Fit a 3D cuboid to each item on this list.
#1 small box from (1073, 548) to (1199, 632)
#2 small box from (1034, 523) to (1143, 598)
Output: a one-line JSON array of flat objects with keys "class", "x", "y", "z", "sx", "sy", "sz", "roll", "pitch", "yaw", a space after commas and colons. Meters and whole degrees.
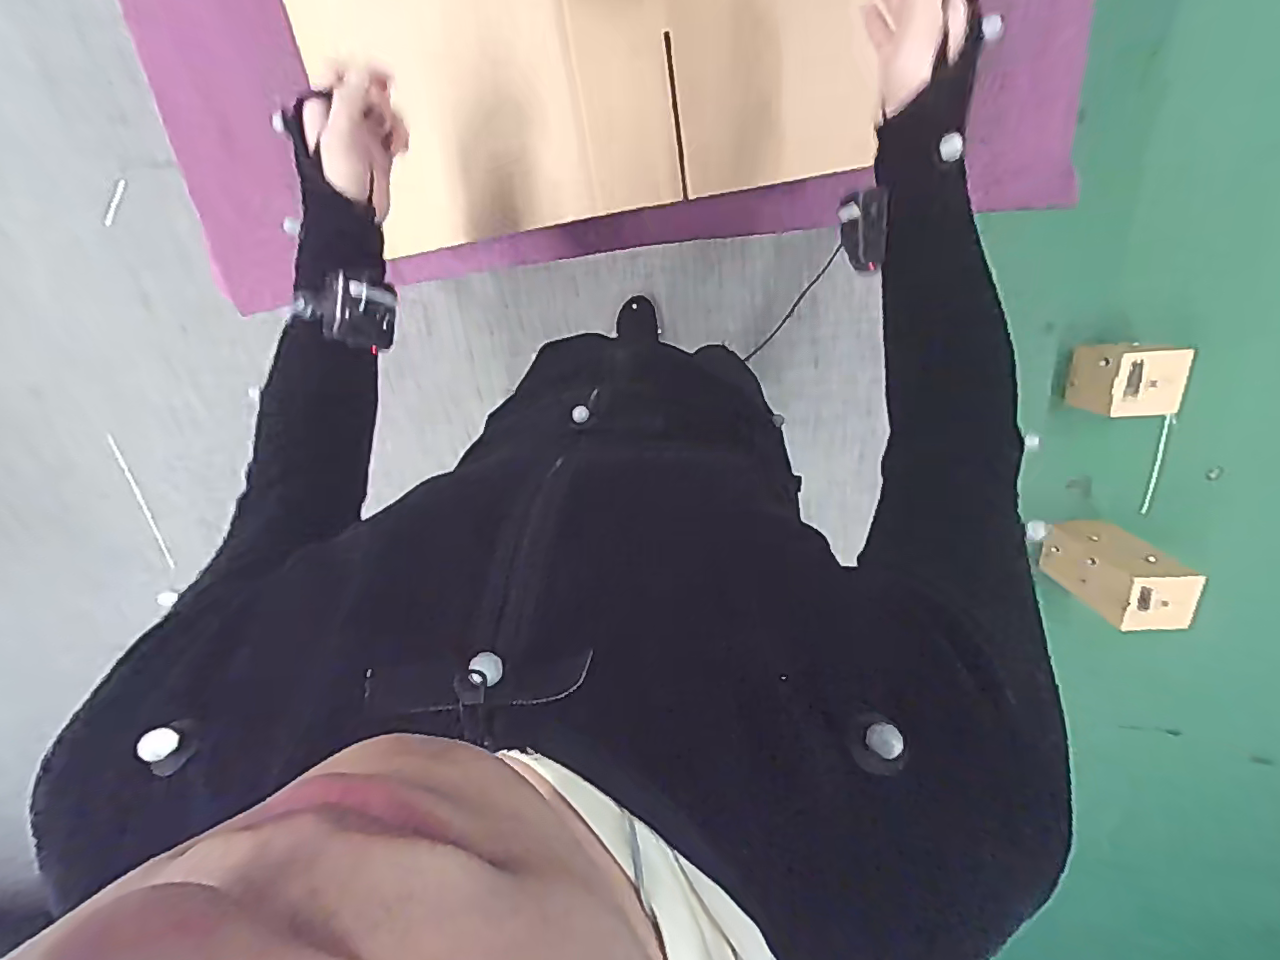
[{"class": "small box", "x": 1.345, "y": 0.297, "z": 1.483, "sx": 0.179, "sy": 0.176, "sz": 0.168, "roll": -2, "pitch": 111, "yaw": 2}, {"class": "small box", "x": 1.349, "y": 0.238, "z": 1.636, "sx": 0.179, "sy": 0.176, "sz": 0.168, "roll": -3, "pitch": 111, "yaw": 3}]
